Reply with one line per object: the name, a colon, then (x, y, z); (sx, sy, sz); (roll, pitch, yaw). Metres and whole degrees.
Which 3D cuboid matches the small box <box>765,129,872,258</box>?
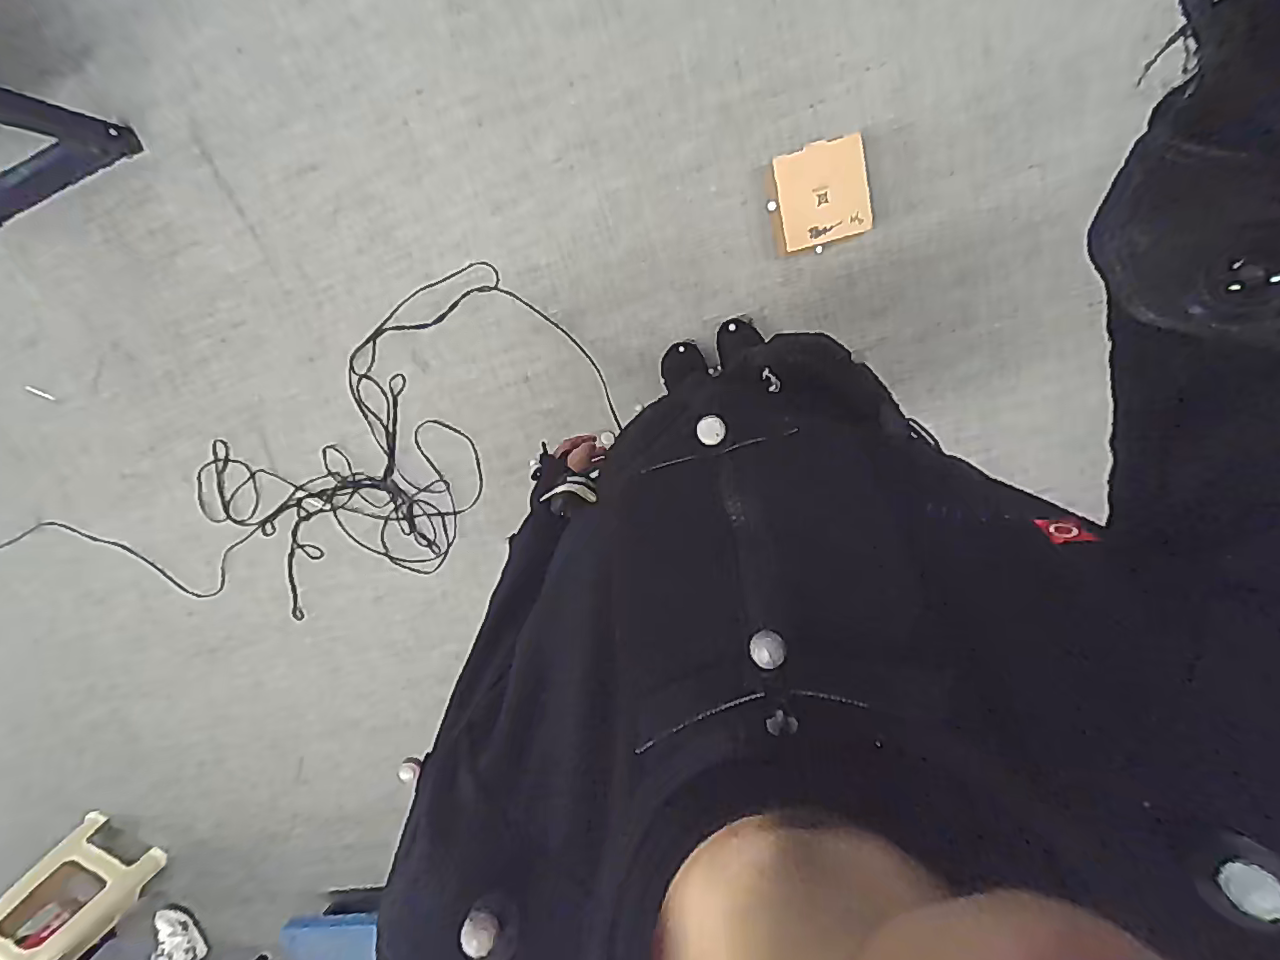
small box: (0.357, -0.573, 1.106); (0.168, 0.176, 0.179); (-12, 104, 11)
